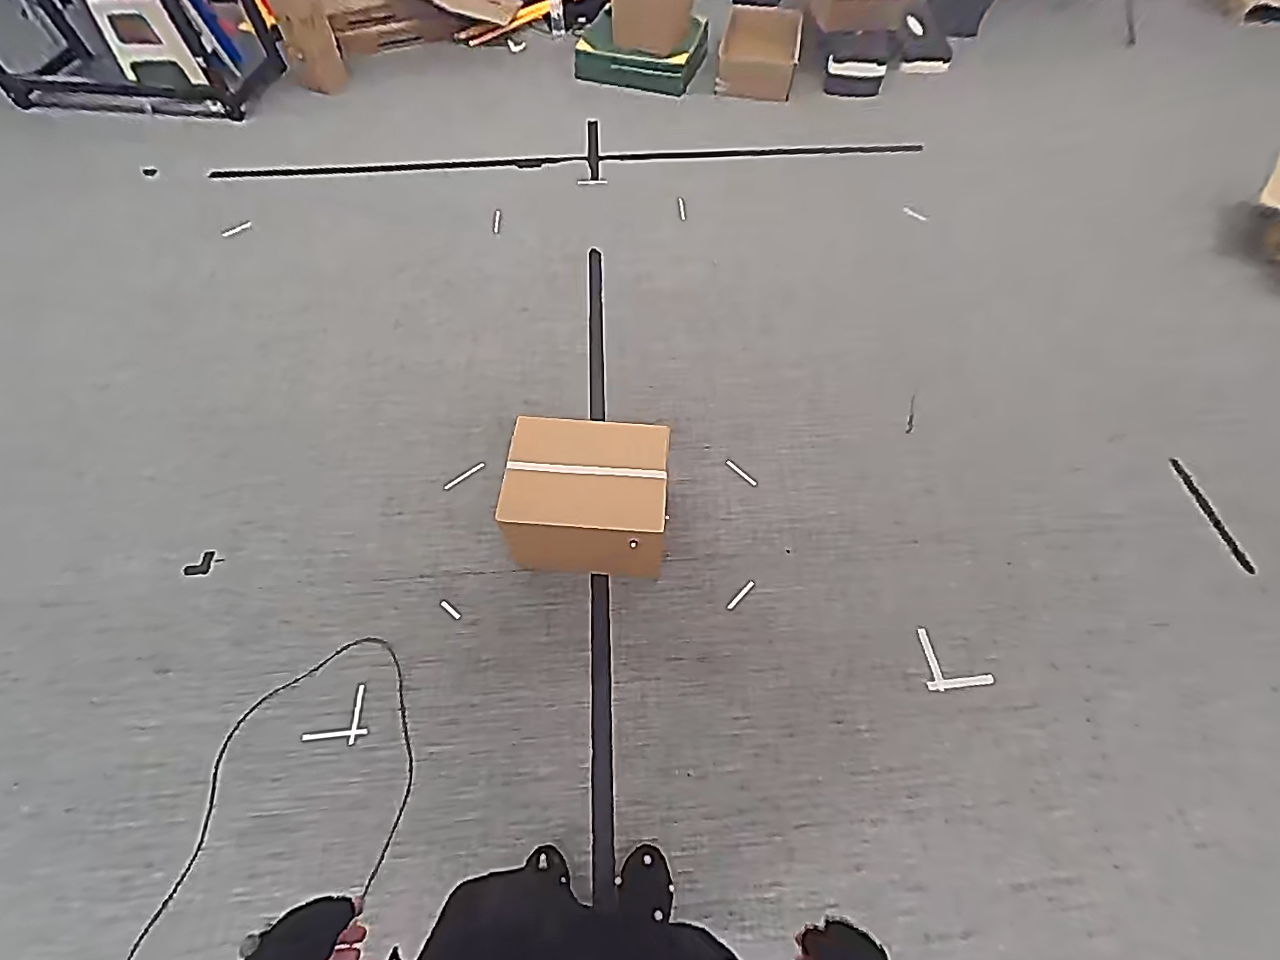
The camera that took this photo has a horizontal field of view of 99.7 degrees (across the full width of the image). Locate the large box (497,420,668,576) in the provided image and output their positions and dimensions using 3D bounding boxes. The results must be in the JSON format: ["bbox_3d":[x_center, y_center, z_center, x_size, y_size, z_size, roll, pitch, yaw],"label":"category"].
[{"bbox_3d":[-0.135,0.059,1.473,0.408,0.320,0.320,4,59,1],"label":"large box"}]
